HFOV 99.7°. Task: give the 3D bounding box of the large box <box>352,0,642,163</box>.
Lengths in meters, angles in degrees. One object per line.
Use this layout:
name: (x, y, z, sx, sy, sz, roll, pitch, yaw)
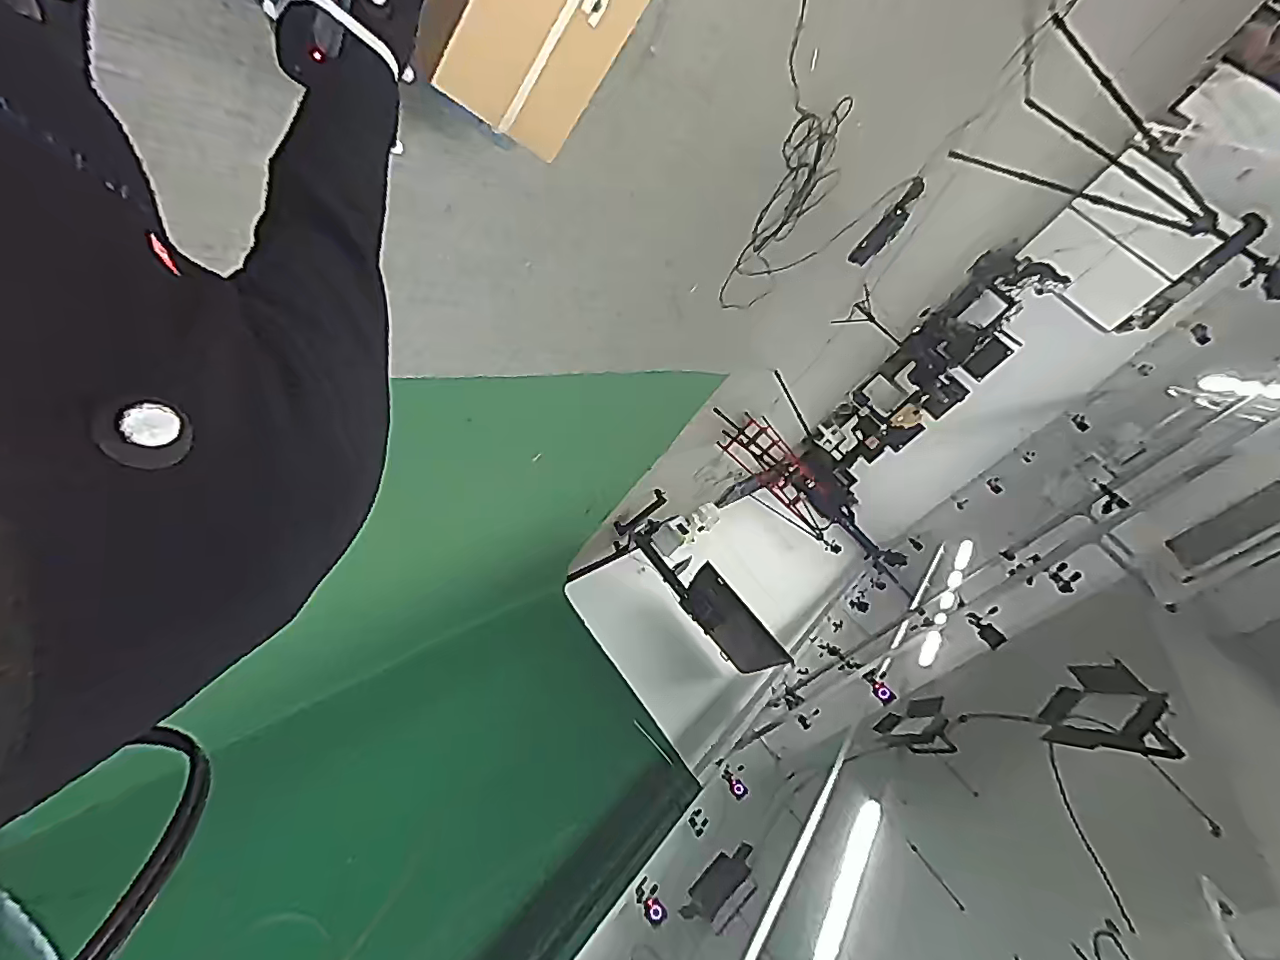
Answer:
large box: (-0.245, -0.900, 0.981, 0.408, 0.320, 0.320, -49, 162, 24)
